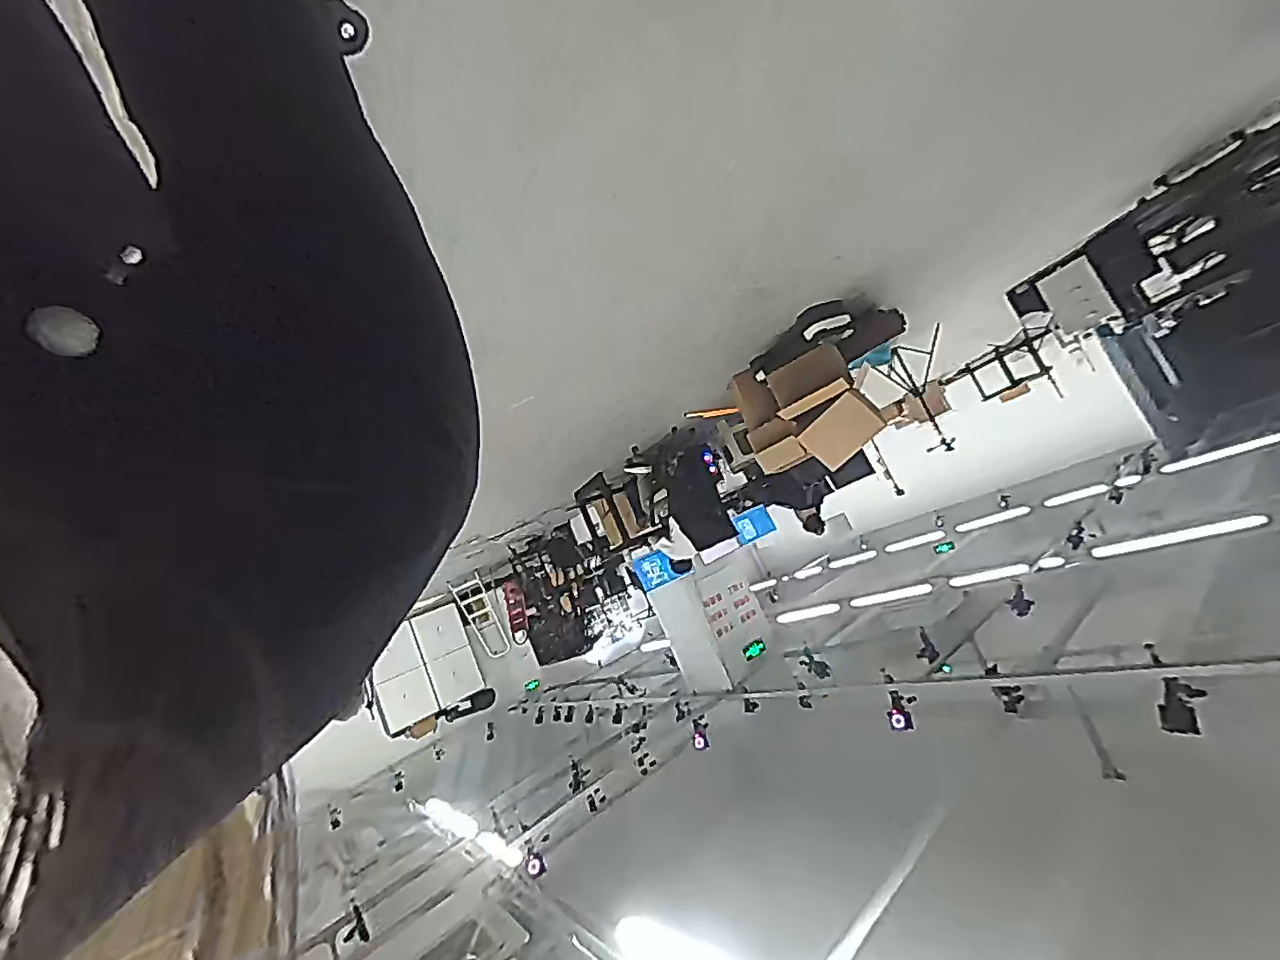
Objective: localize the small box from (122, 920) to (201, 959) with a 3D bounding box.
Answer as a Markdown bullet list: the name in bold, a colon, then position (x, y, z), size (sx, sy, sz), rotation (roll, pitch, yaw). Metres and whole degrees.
- **small box**: position (-1.496, 1.527, 1.678), size (0.168, 0.176, 0.179), rotation (-18, 167, -34)

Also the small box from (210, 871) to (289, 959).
- **small box**: position (-1.299, 1.455, 1.801), size (0.168, 0.176, 0.179), rotation (-18, 169, -31)
